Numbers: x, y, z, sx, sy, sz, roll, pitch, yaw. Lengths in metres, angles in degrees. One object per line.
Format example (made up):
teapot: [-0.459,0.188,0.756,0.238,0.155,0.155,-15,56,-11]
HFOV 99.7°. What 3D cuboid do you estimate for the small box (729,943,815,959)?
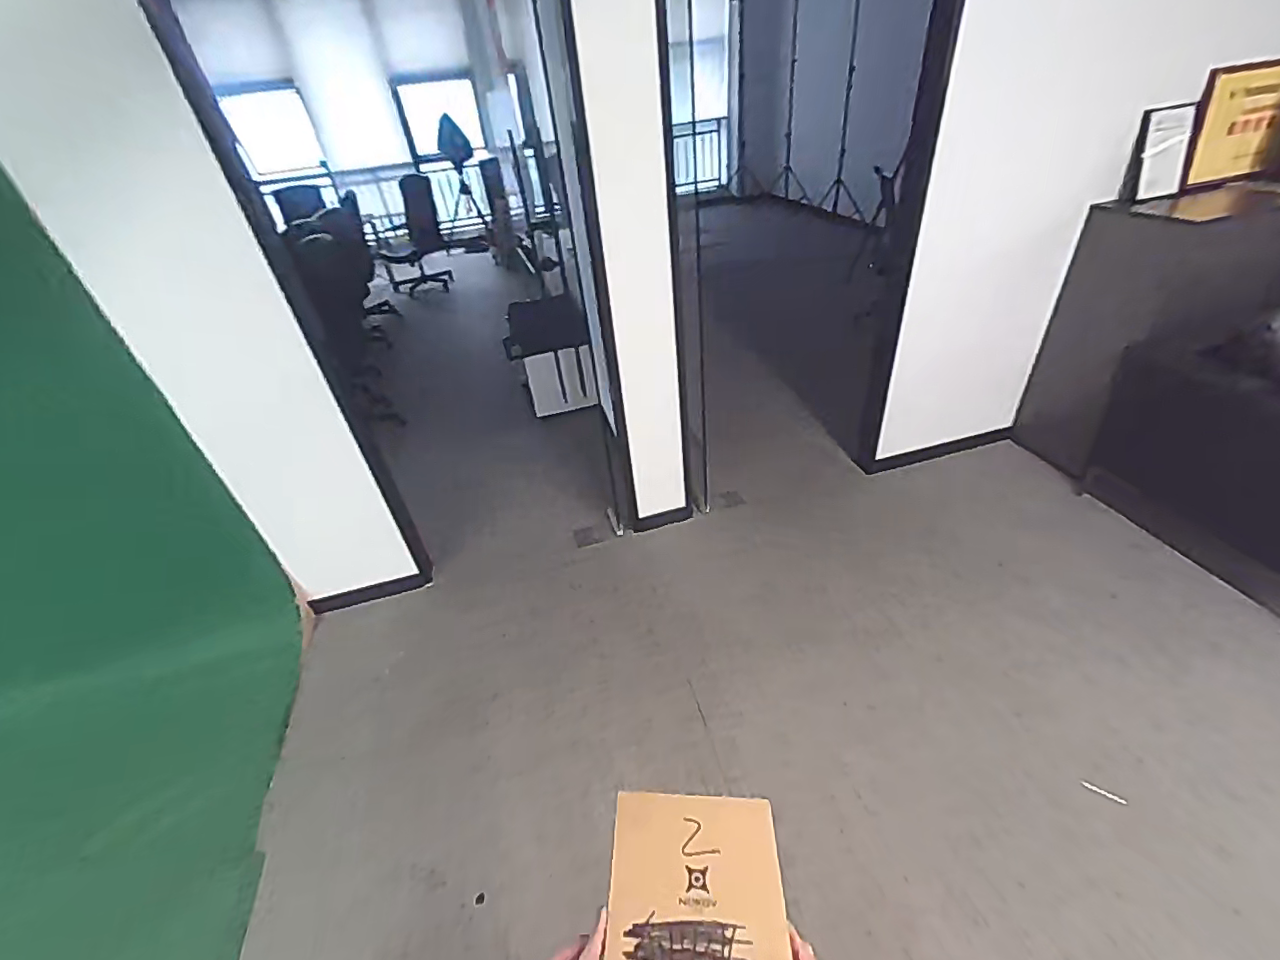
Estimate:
small box: [0.261,1.008,1.005,0.168,0.176,0.179,-9,37,-4]
